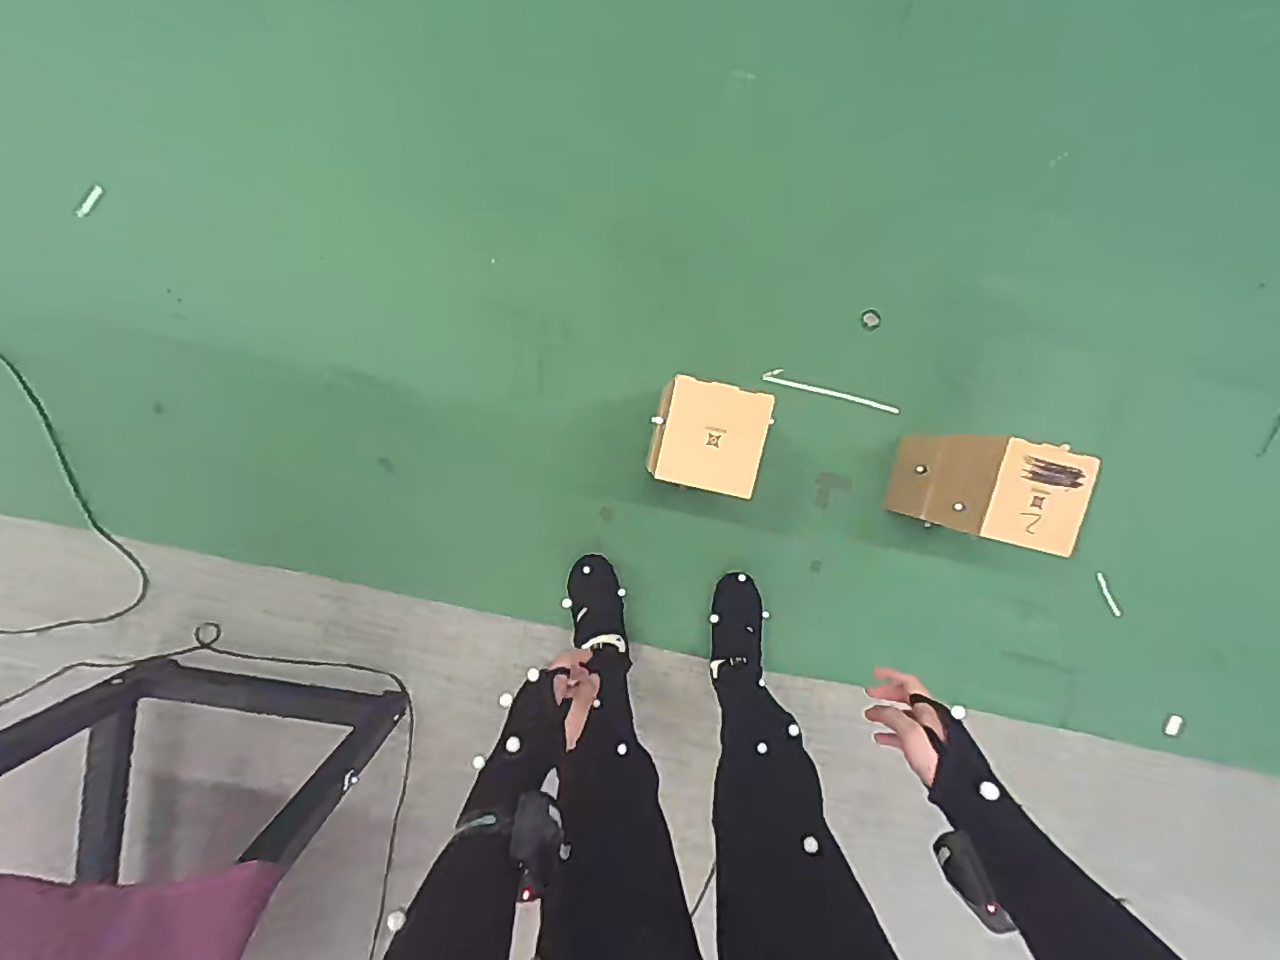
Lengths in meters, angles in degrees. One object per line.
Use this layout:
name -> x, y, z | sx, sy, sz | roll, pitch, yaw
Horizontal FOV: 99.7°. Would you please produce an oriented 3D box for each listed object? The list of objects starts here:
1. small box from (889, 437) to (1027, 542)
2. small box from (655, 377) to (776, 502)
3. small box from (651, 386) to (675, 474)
small box -> 0.657, 0.013, 1.141 | 0.168, 0.176, 0.179 | 15, 95, -3
small box -> 0.124, -0.071, 0.959 | 0.168, 0.176, 0.179 | 12, 94, -2
small box -> 0.118, -0.086, 1.119 | 0.168, 0.176, 0.179 | 12, 96, -2
